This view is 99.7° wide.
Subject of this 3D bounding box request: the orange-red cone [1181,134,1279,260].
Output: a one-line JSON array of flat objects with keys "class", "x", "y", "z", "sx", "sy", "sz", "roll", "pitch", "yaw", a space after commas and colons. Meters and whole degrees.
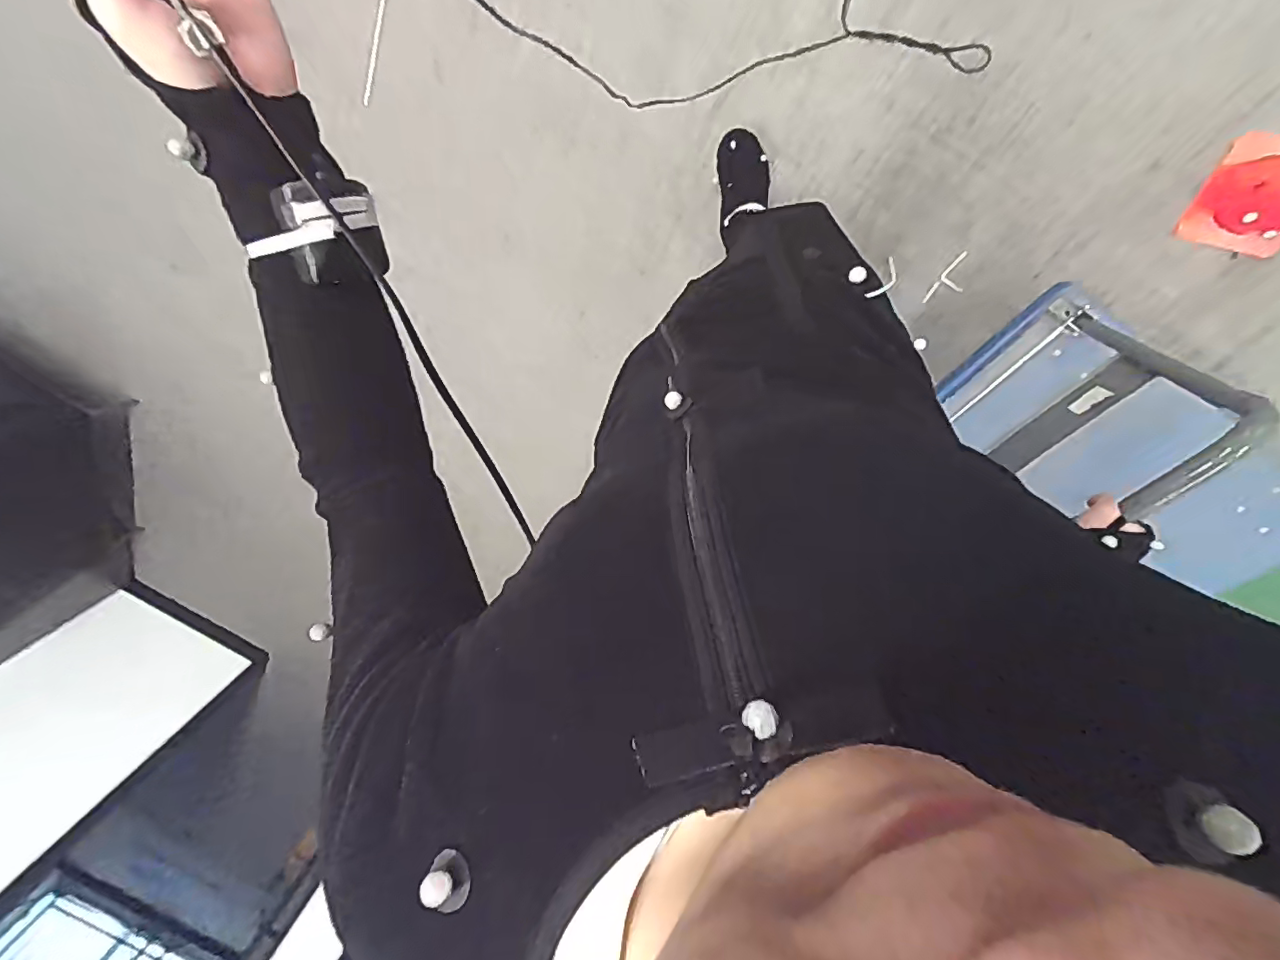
[{"class": "orange-red cone", "x": 1.214, "y": -0.488, "z": 0.948, "sx": 0.198, "sy": 0.360, "sz": 0.199, "roll": 19, "pitch": 121, "yaw": 5}]
